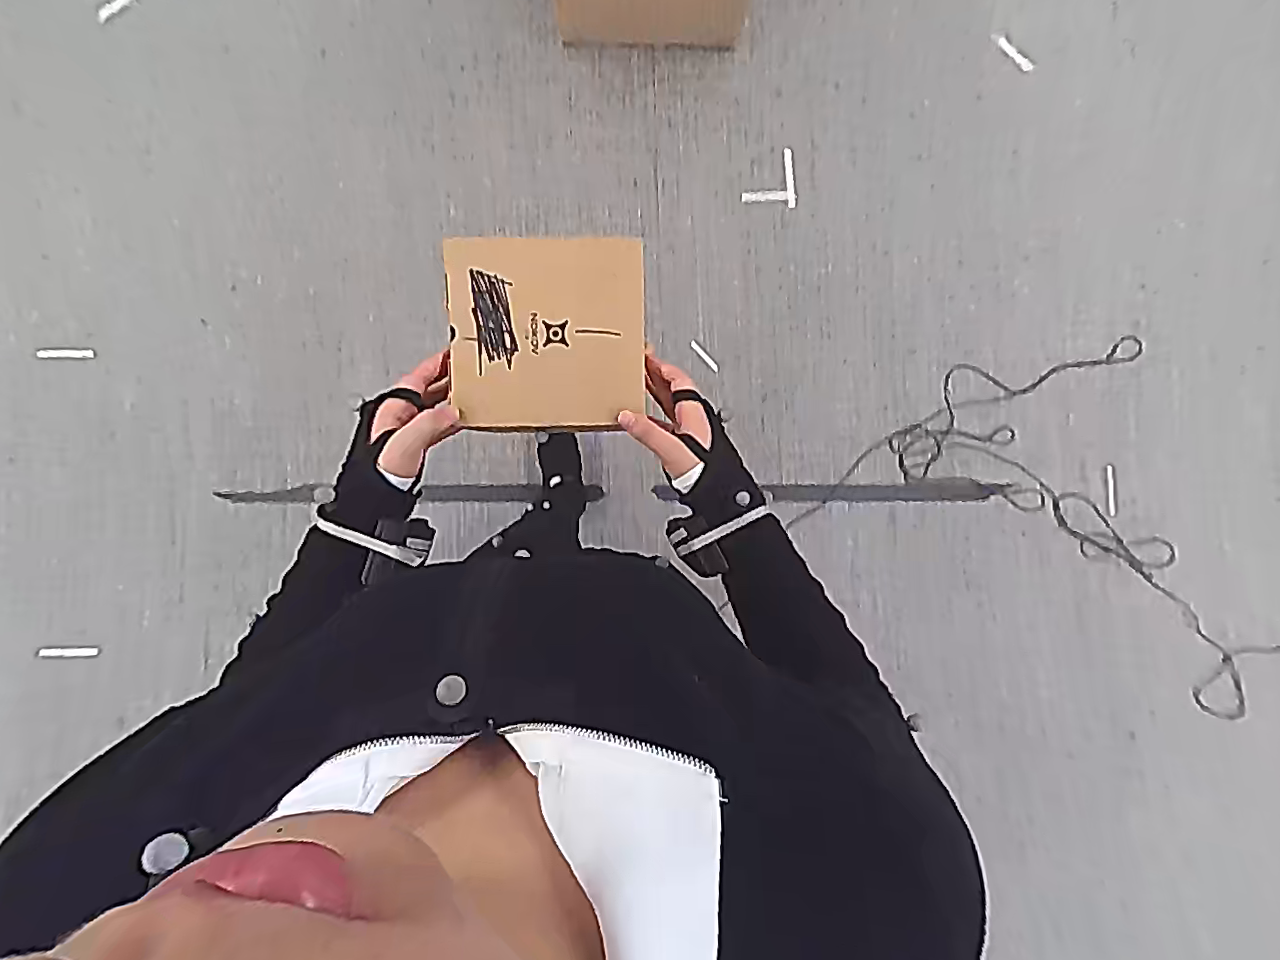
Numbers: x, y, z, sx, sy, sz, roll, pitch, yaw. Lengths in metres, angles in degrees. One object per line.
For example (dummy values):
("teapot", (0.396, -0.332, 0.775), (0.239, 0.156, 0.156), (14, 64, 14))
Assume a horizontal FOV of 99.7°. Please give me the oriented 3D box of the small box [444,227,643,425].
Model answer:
("small box", (-0.086, -0.144, 0.559), (0.179, 0.176, 0.168), (-1, 93, -2))
